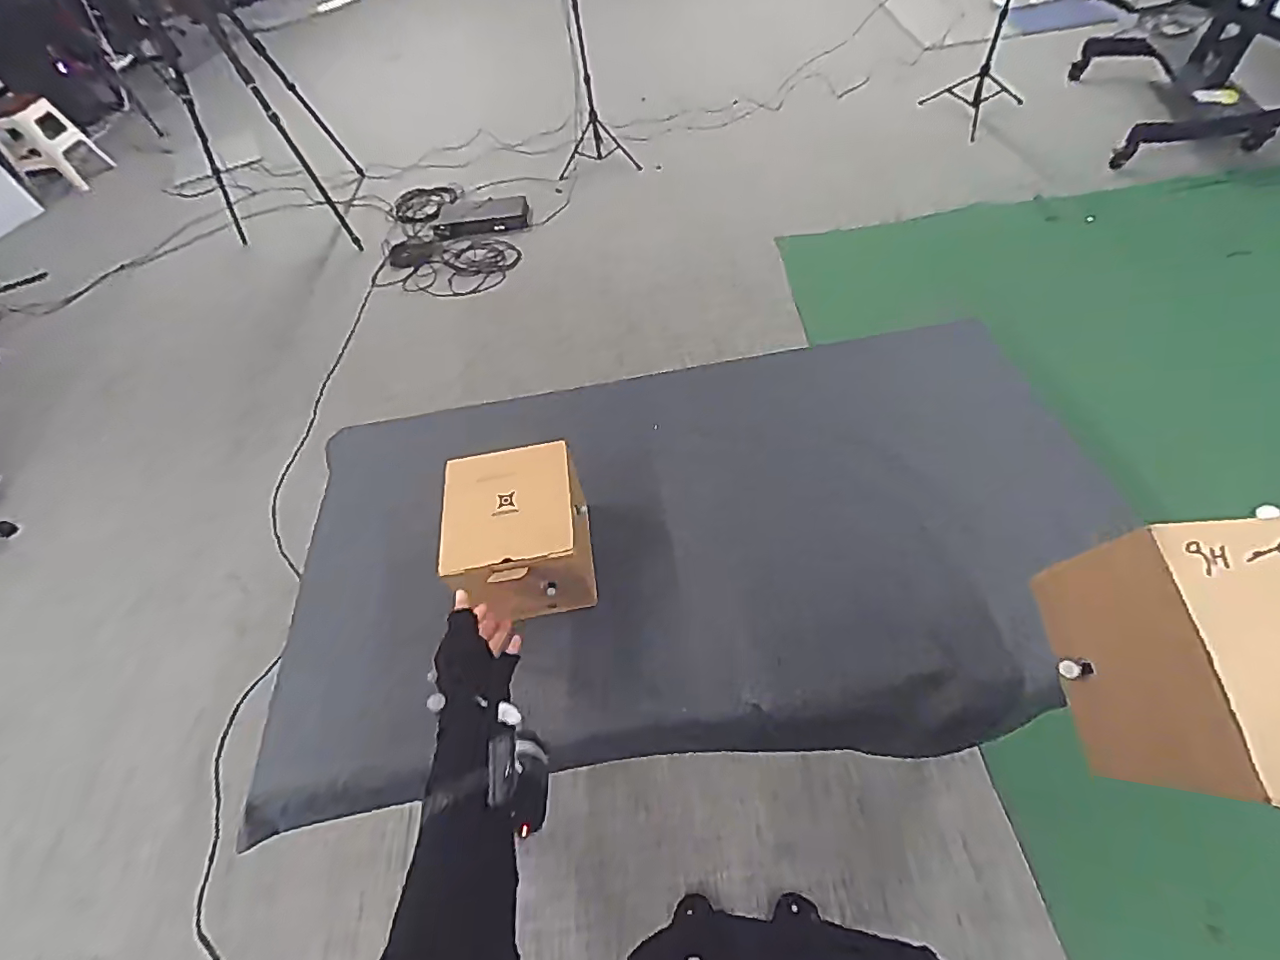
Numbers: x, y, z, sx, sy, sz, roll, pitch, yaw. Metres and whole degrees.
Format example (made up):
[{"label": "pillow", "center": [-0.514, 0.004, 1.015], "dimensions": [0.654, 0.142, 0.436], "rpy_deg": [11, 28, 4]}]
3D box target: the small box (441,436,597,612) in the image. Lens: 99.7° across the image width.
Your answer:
[{"label": "small box", "center": [-0.158, 0.069, 0.748], "dimensions": [0.168, 0.176, 0.179], "rpy_deg": [-10, 54, -1]}]
